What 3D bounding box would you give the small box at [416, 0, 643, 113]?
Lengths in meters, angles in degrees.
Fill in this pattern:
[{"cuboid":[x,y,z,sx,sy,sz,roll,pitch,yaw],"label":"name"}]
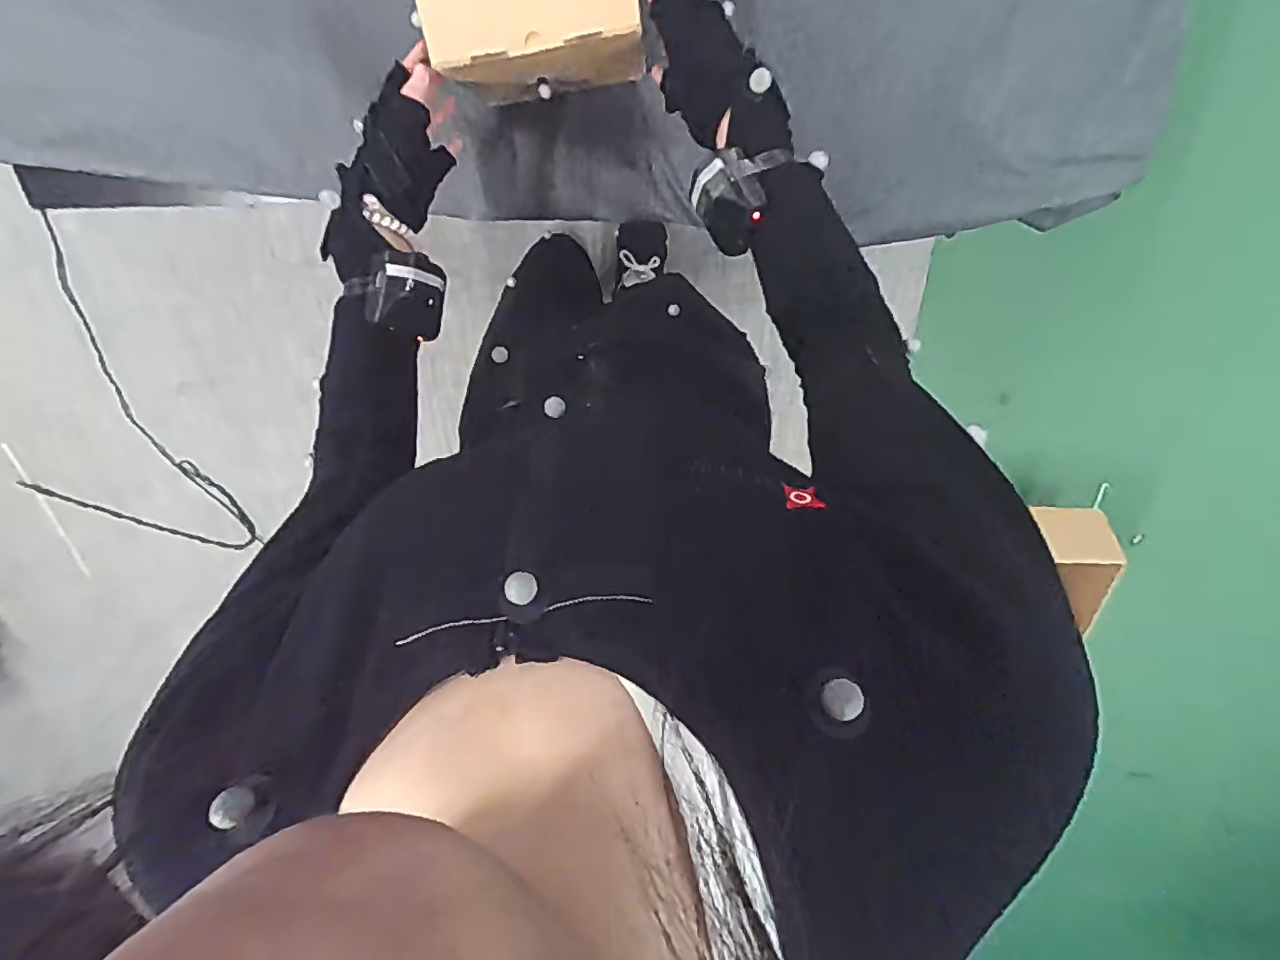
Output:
[{"cuboid":[-0.092,-0.434,0.451,0.168,0.176,0.179,-8,117,4],"label":"small box"}]
